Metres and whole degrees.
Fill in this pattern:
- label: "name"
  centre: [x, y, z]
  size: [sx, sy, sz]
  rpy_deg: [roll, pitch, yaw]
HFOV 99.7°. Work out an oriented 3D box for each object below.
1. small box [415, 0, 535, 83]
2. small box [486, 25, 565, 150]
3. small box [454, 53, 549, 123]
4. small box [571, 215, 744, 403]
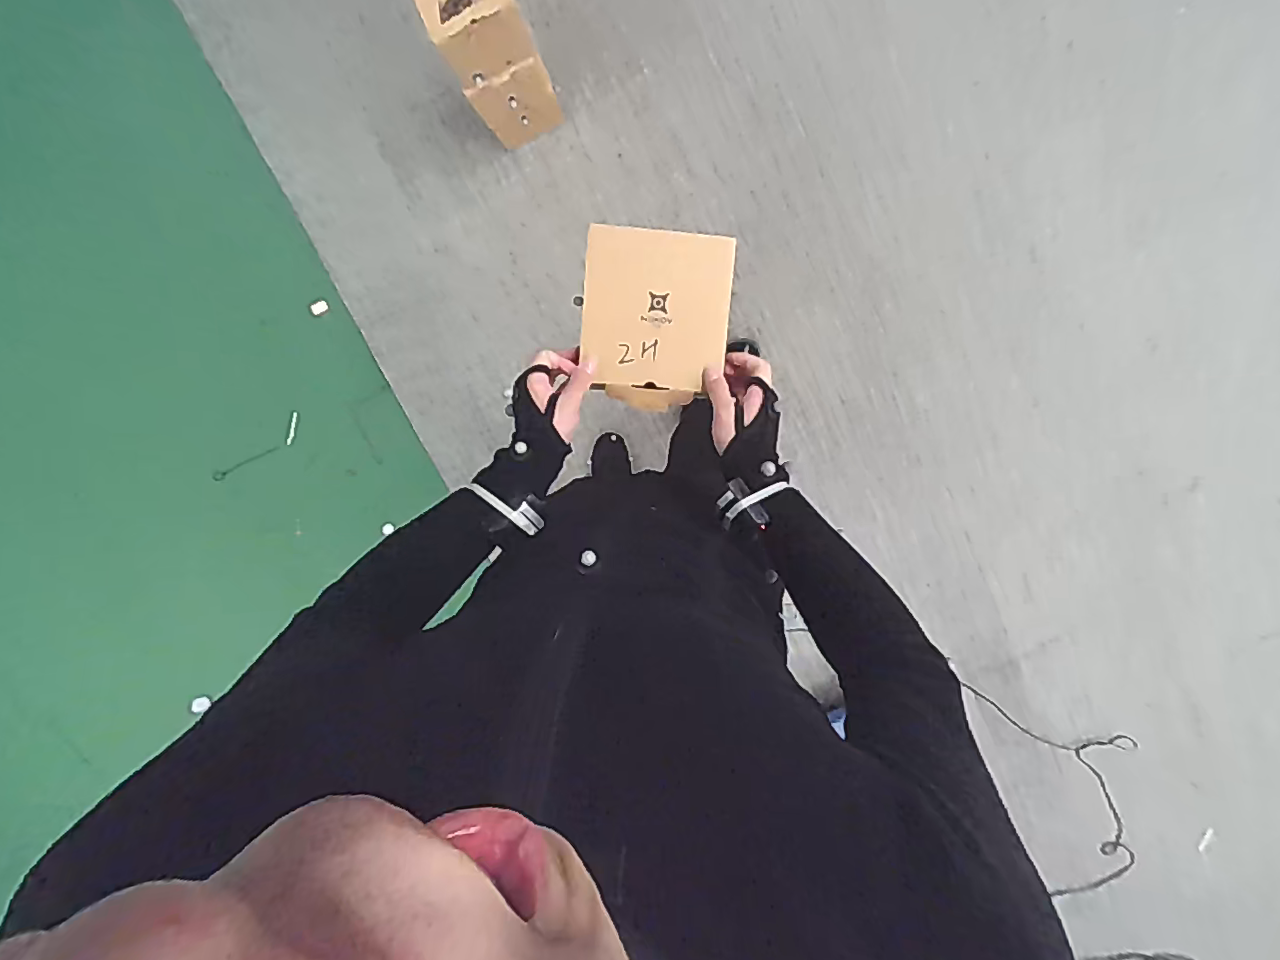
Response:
- label: "small box"
  centre: [-0.316, -0.892, 1.014]
  size: [0.168, 0.176, 0.179]
  rpy_deg: [-21, 100, 7]
- label: "small box"
  centre: [-0.303, -0.956, 1.335]
  size: [0.179, 0.176, 0.168]
  rpy_deg: [-20, 101, 6]
- label: "small box"
  centre: [-0.314, -0.916, 1.177]
  size: [0.168, 0.176, 0.179]
  rpy_deg: [-20, 102, 7]
- label: "small box"
  centre: [0.018, -0.199, 0.680]
  size: [0.168, 0.176, 0.179]
  rpy_deg: [12, 98, -2]
